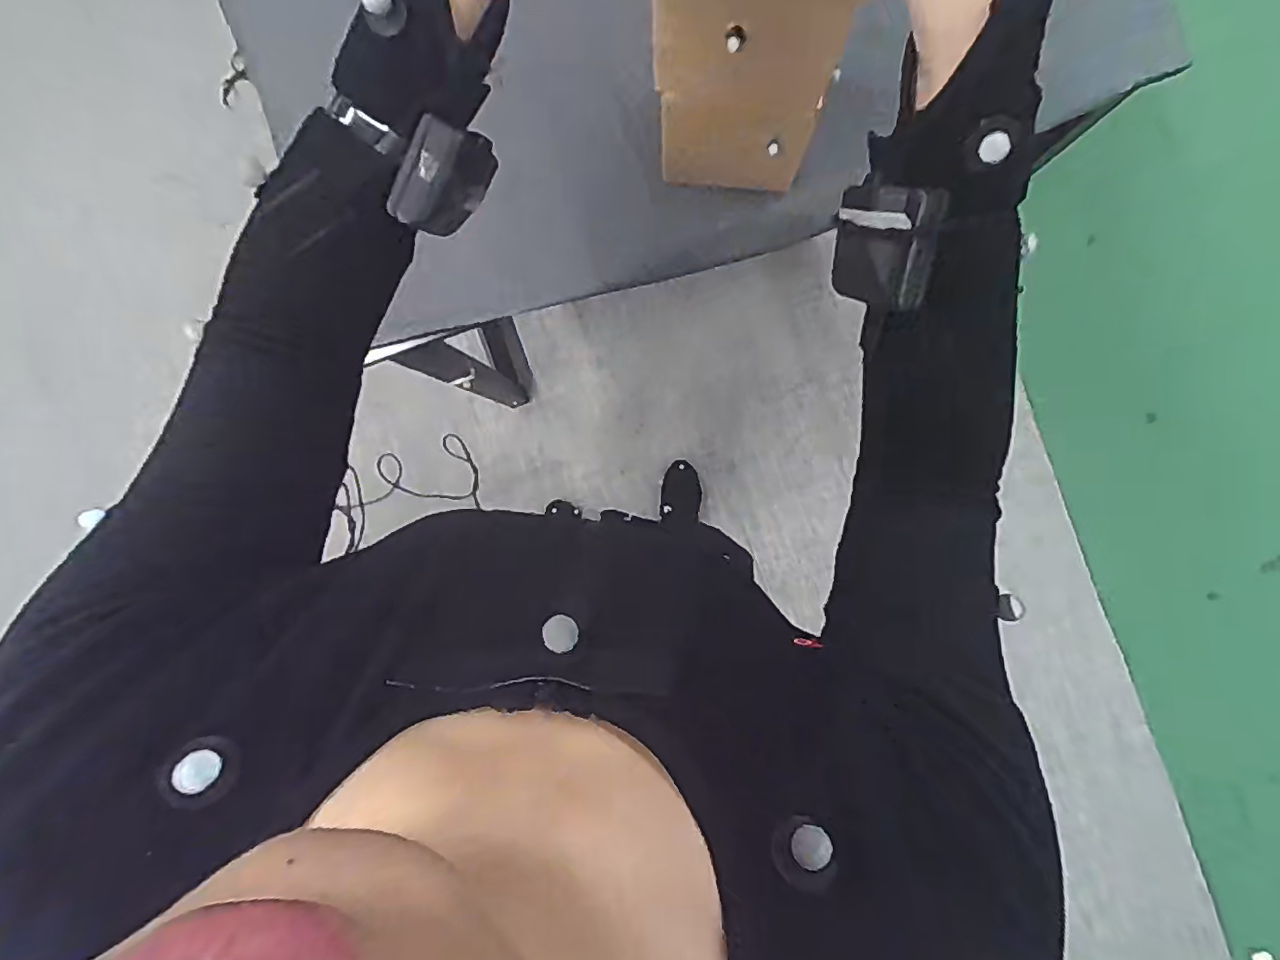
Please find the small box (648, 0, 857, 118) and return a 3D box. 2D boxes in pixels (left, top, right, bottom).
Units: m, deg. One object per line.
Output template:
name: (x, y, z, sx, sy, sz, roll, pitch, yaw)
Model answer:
small box: (0.112, -0.477, 0.501, 0.179, 0.176, 0.168, 14, 91, 4)
